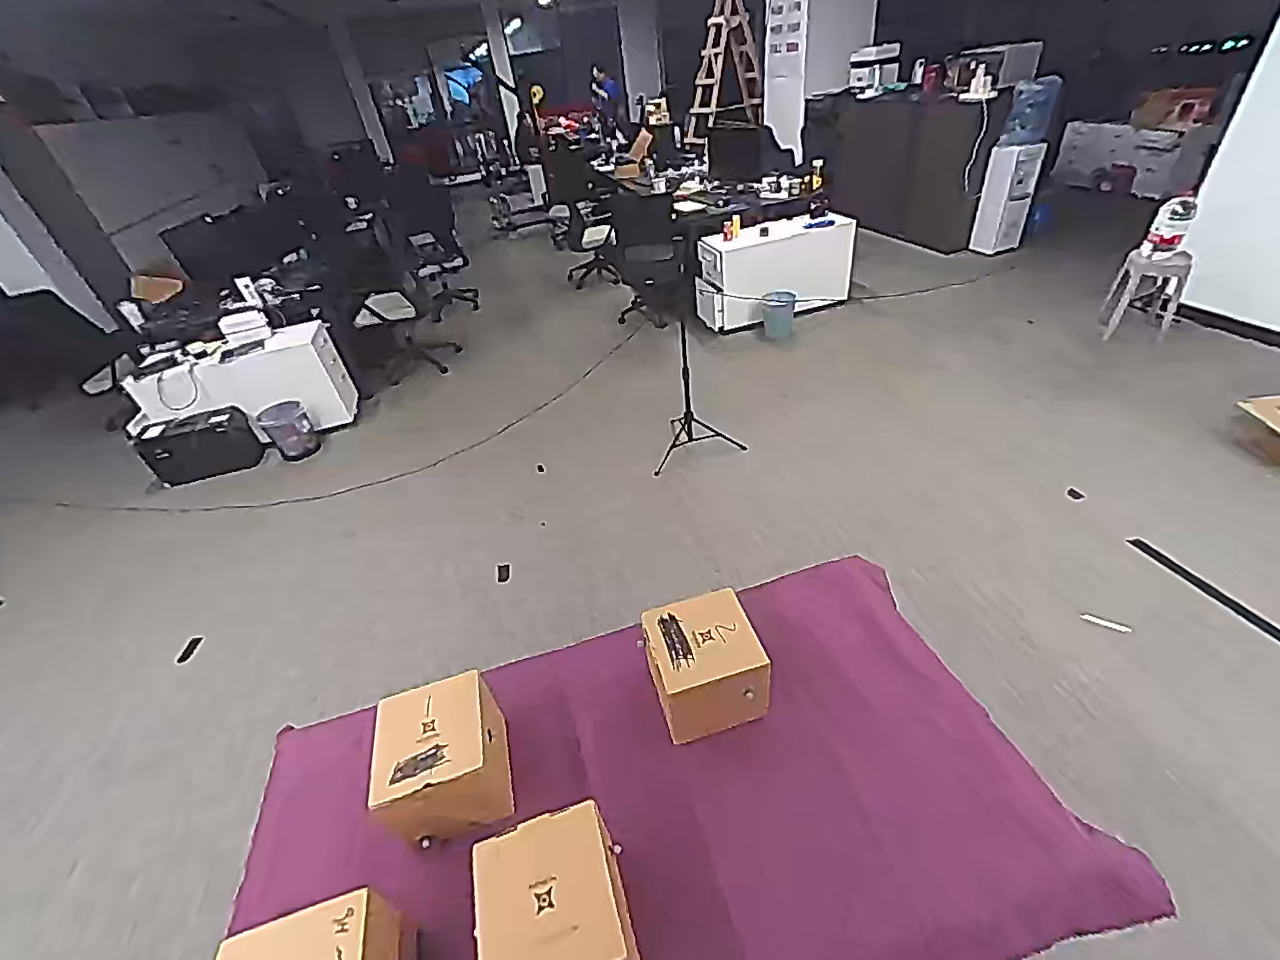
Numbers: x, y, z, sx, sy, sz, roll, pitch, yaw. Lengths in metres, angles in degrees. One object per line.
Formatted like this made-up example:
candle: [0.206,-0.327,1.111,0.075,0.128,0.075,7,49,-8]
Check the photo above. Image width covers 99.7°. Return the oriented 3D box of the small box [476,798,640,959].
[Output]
small box: [-0.105,0.561,0.702,0.168,0.176,0.179,-17,40,-9]

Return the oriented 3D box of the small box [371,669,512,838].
small box: [-0.315,0.451,0.884,0.168,0.176,0.179,-16,38,-9]

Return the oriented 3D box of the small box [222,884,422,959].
small box: [-0.387,0.639,0.655,0.179,0.176,0.168,-16,39,-8]
